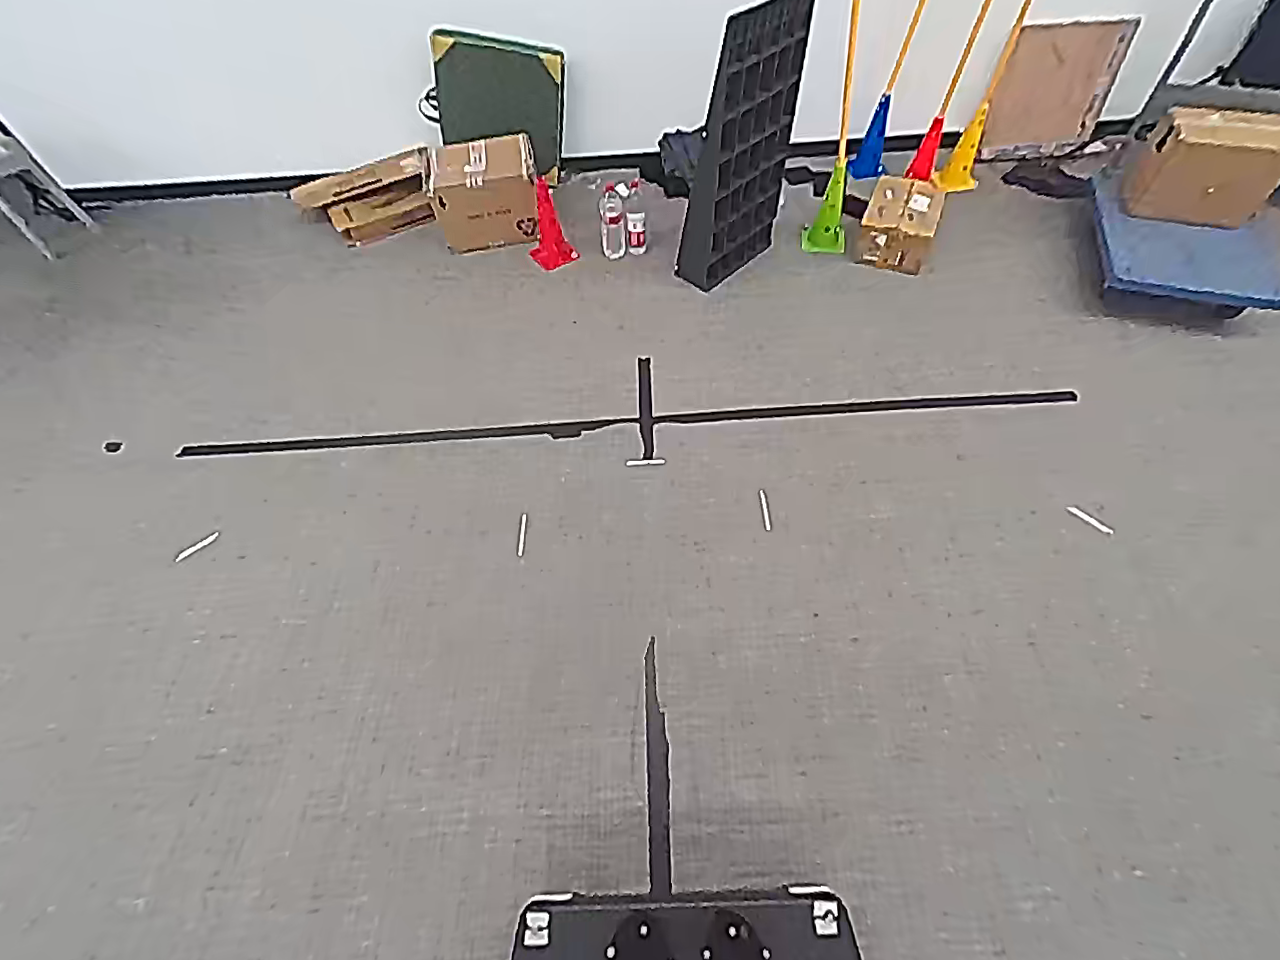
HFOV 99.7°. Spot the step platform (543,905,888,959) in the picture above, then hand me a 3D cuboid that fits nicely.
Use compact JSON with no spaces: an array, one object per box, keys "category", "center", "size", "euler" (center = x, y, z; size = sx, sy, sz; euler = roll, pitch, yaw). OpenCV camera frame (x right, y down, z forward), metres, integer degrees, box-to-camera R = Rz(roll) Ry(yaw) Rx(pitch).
[{"category":"step platform","center":[0.142,1.020,1.039],"size":[0.684,0.204,0.286],"euler":[1,54,3]}]
